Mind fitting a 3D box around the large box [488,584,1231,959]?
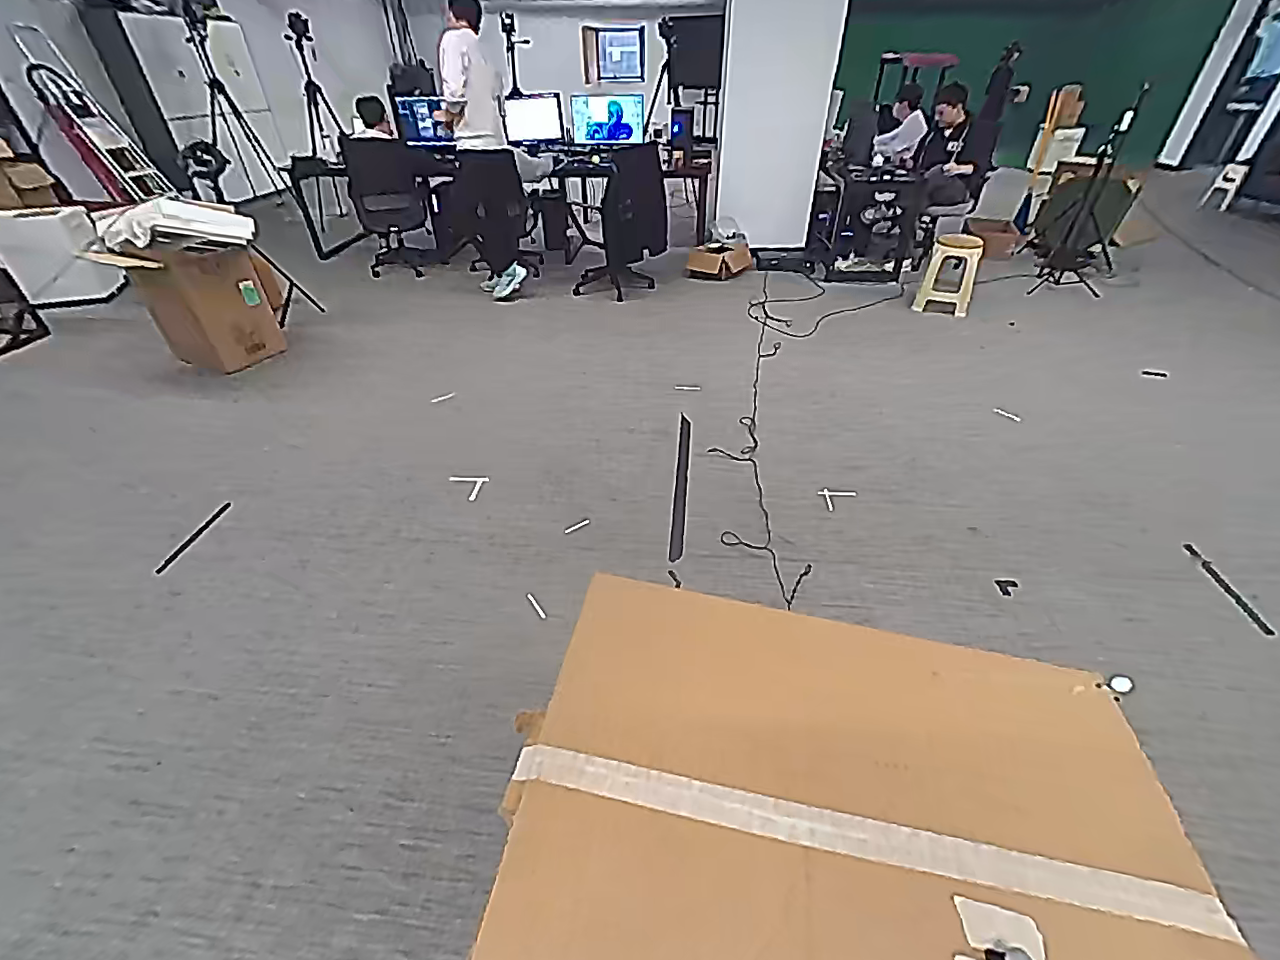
[{"bbox_3d":[0.117,0.329,0.422,0.408,0.320,0.320,11,41,4],"label":"large box"}]
